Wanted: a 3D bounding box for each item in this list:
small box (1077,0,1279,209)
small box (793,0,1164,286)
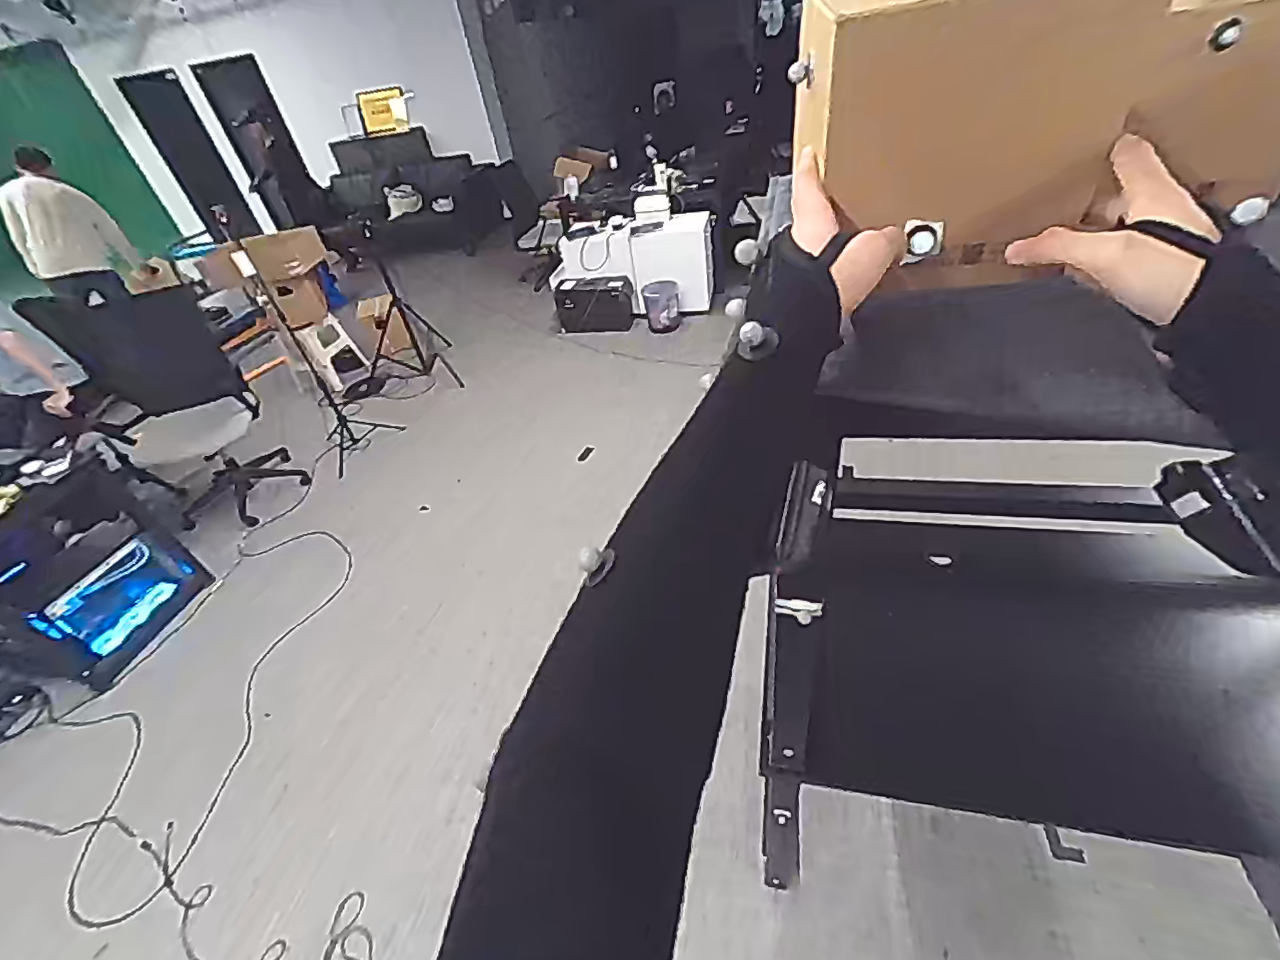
[{"bbox_3d":[0.546,-0.391,0.554,0.168,0.176,0.179,5,42,19],"label":"small box"},{"bbox_3d":[0.204,-0.260,0.389,0.168,0.176,0.179,-2,46,11],"label":"small box"}]
